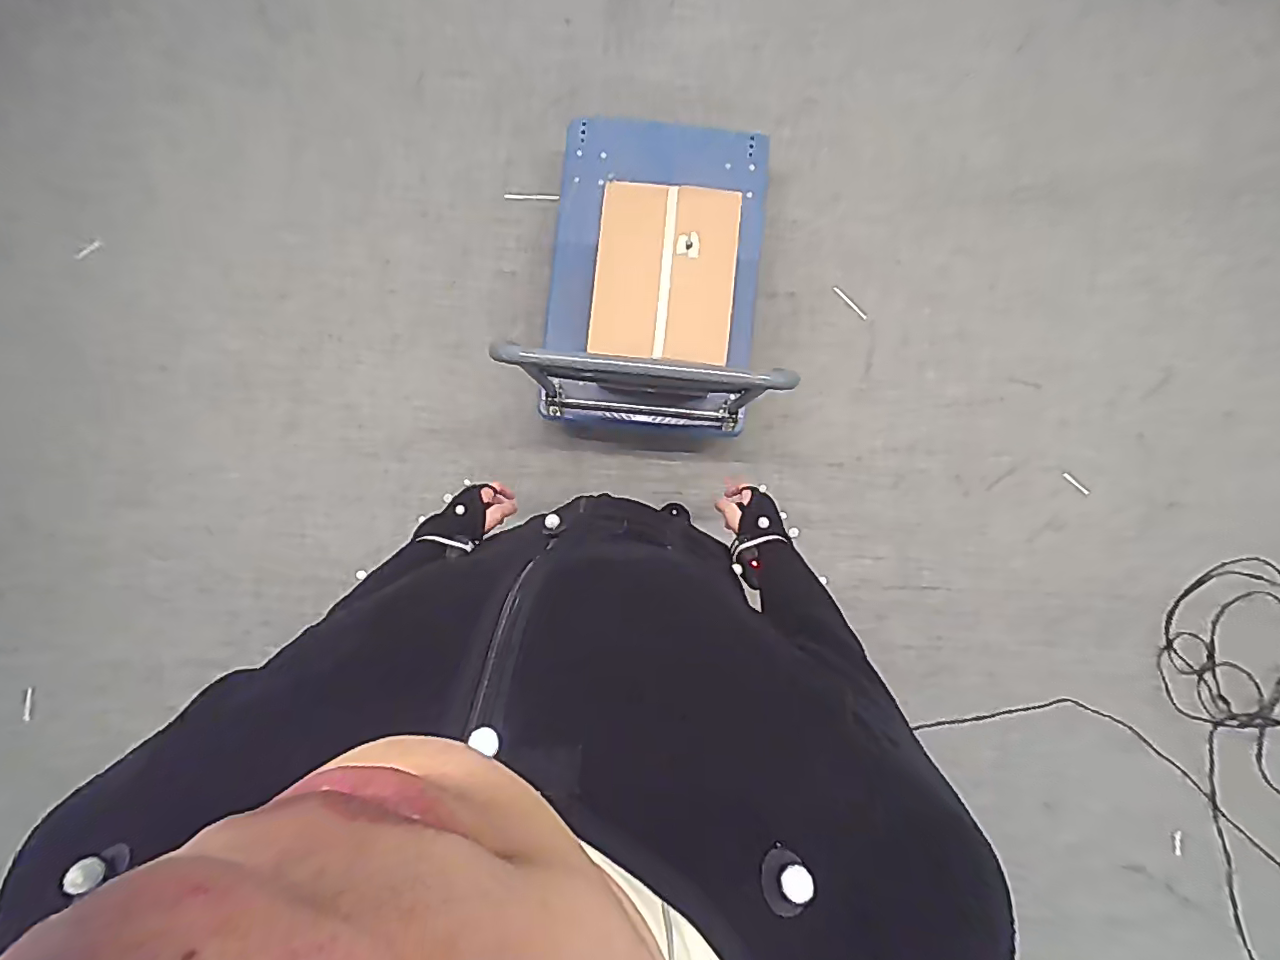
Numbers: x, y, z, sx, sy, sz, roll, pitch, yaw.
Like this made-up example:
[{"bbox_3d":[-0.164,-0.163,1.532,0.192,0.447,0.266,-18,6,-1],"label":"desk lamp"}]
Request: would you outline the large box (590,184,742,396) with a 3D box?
[{"bbox_3d":[0.061,-0.444,1.343,0.320,0.320,0.408,6,86,0],"label":"large box"}]
